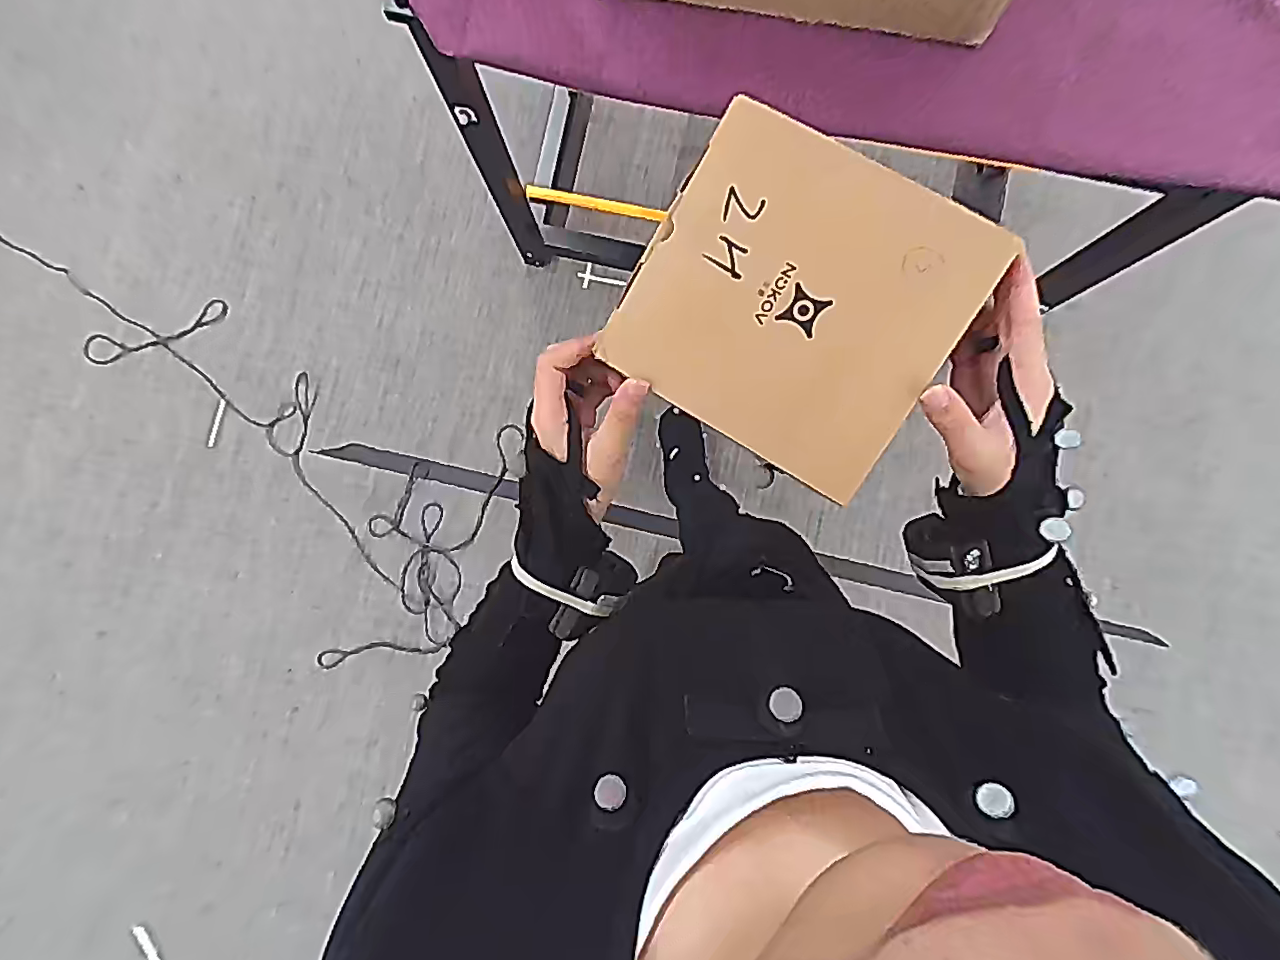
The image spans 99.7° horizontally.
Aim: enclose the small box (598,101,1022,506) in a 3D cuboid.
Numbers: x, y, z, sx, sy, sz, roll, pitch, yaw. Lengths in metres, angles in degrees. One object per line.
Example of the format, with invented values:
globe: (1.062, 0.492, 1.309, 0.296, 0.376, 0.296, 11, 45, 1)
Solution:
small box: (0.101, -0.104, 0.381, 0.179, 0.176, 0.168, 33, 99, 7)
